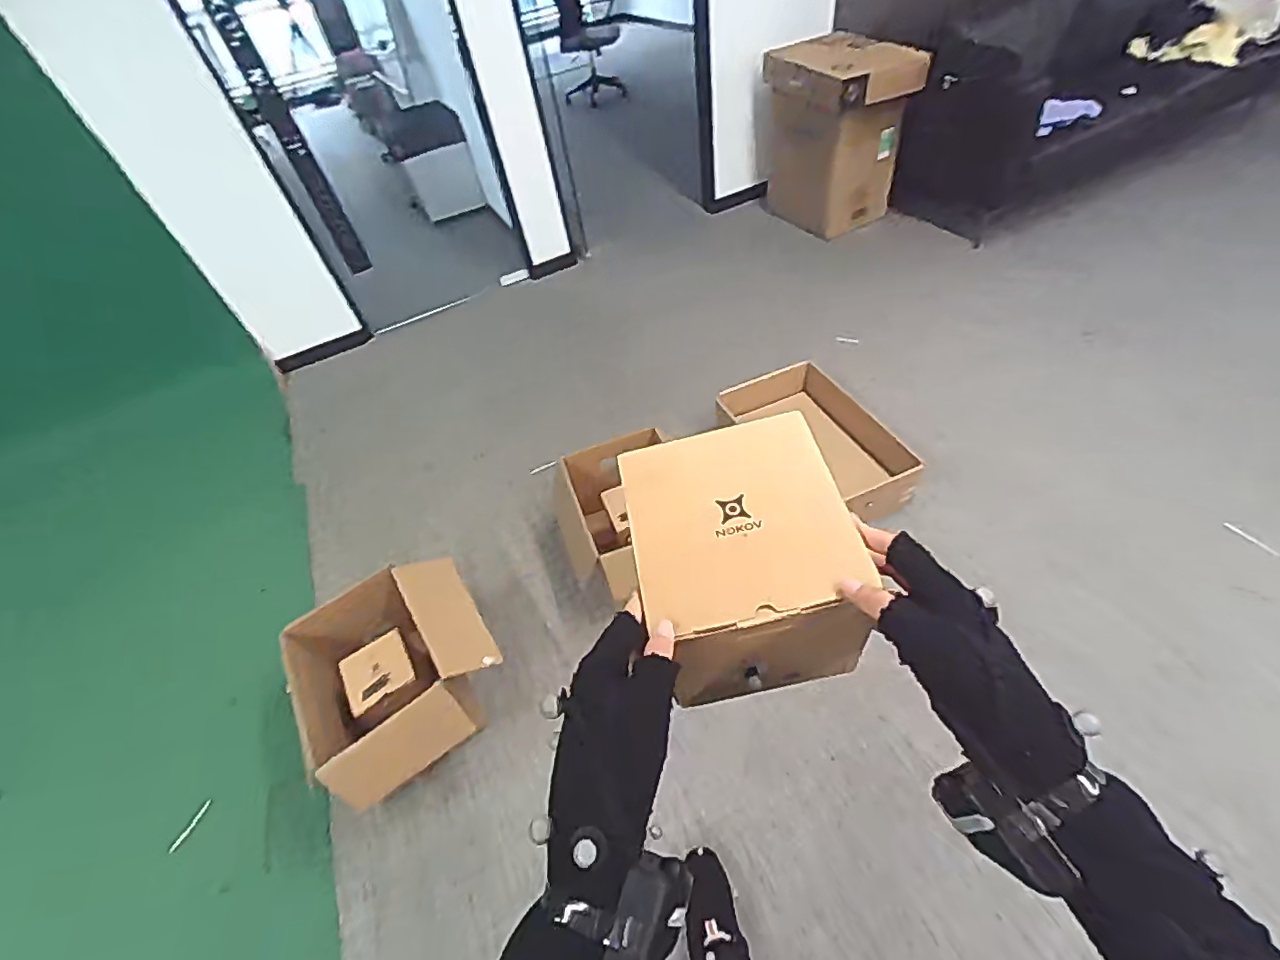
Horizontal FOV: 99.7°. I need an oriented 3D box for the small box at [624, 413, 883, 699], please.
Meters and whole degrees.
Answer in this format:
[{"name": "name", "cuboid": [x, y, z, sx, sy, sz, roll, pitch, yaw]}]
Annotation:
[{"name": "small box", "cuboid": [0.090, 0.073, 0.486, 0.168, 0.176, 0.179, -14, 52, 4]}]
